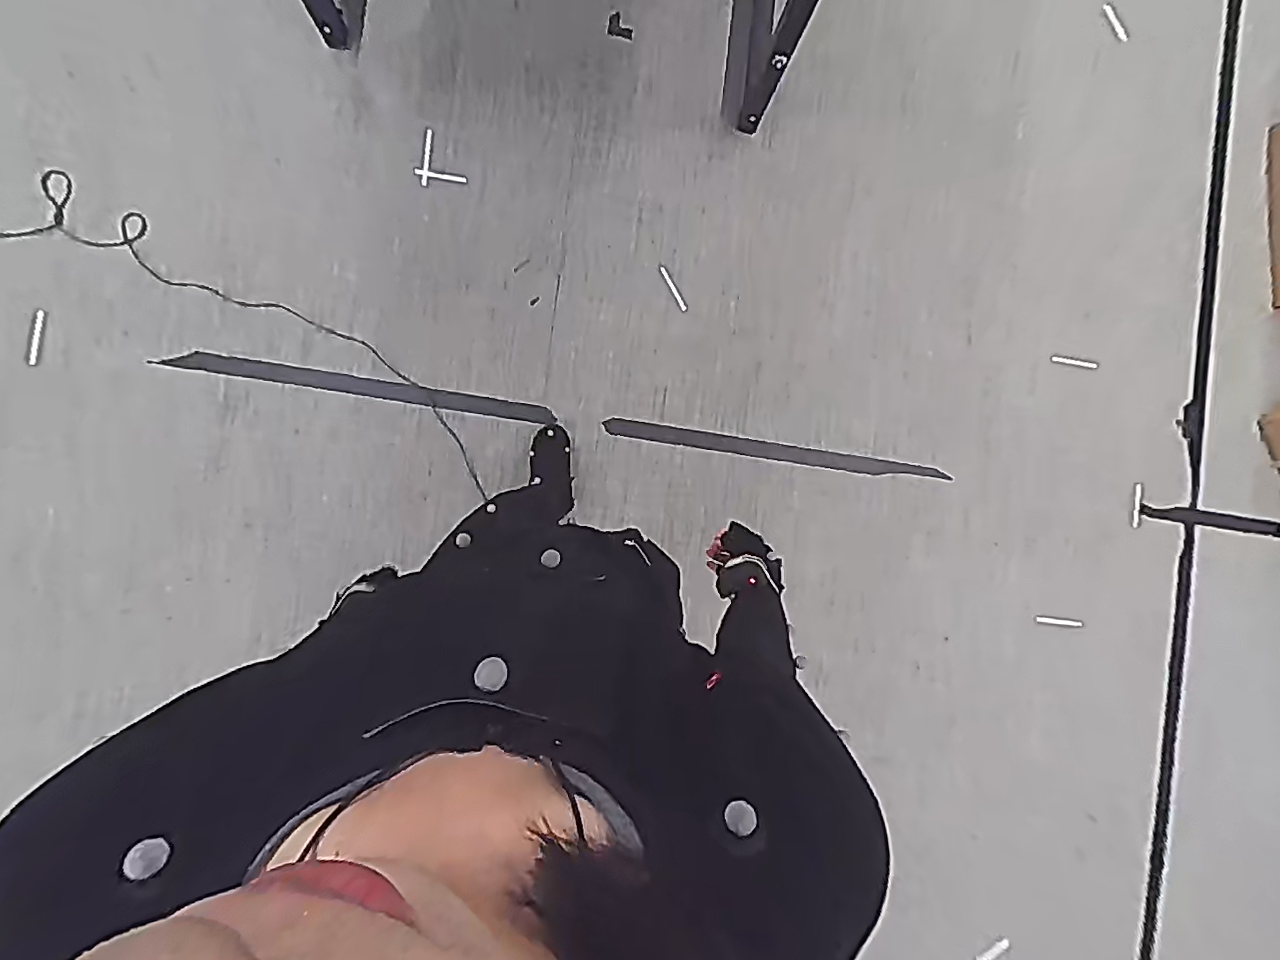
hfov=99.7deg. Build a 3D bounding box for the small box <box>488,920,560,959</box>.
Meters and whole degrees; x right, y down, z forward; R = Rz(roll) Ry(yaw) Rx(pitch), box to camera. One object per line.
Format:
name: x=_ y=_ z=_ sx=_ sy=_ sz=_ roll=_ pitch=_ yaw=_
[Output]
small box: x=-0.293 y=1.290 z=1.381 sx=0.168 sy=0.176 sz=0.179 roll=-12 pitch=90 yaw=-7
